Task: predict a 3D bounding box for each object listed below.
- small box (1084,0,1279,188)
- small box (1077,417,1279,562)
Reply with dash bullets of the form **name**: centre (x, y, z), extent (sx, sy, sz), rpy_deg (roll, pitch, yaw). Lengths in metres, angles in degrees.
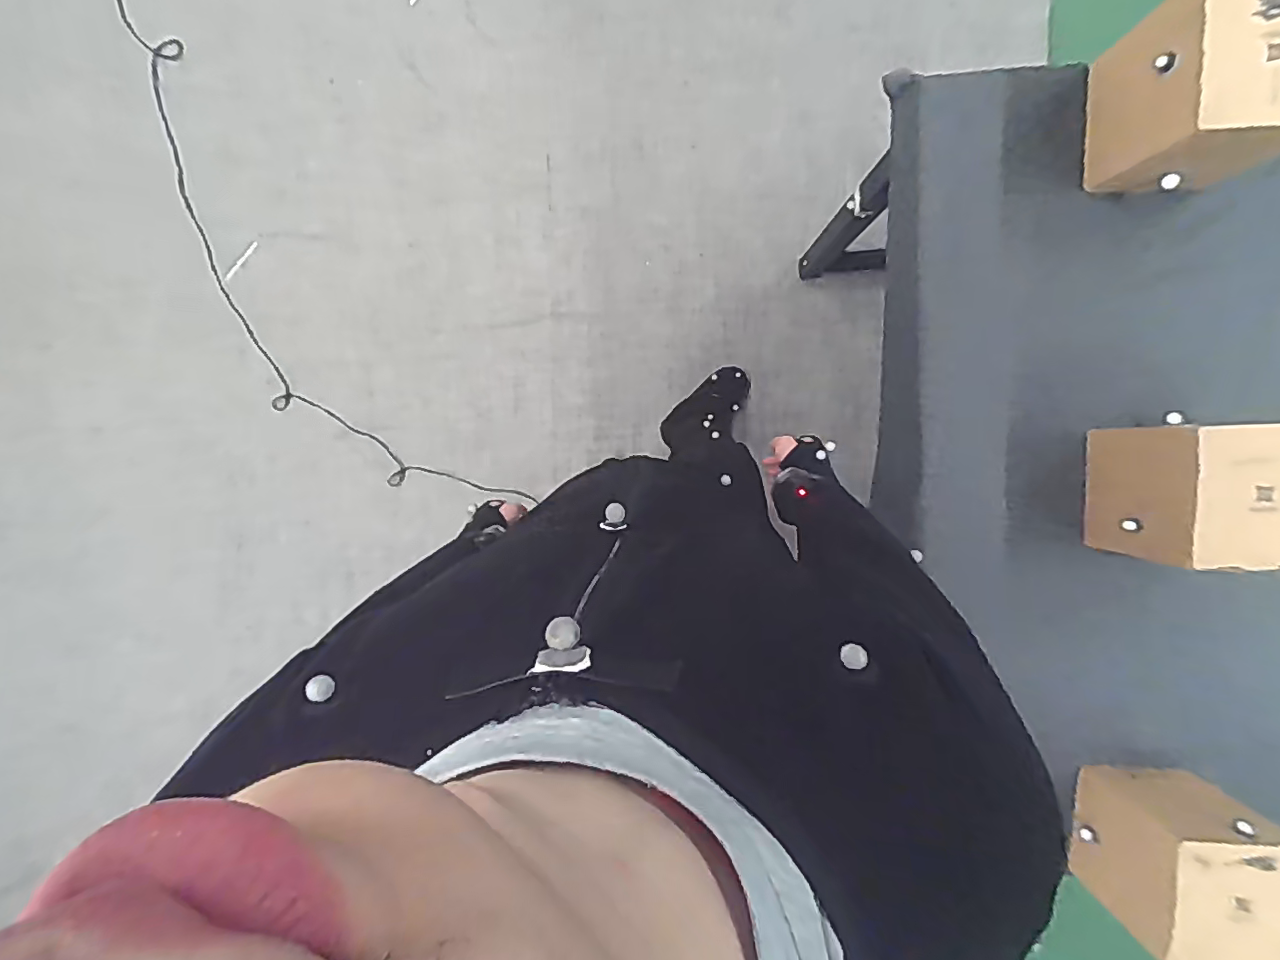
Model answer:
- **small box**: centre (0.709, -0.496, 0.682), extent (0.168, 0.176, 0.179), rpy_deg (-2, 97, 1)
- **small box**: centre (0.741, 0.005, 0.737), extent (0.168, 0.176, 0.179), rpy_deg (-3, 95, 0)
